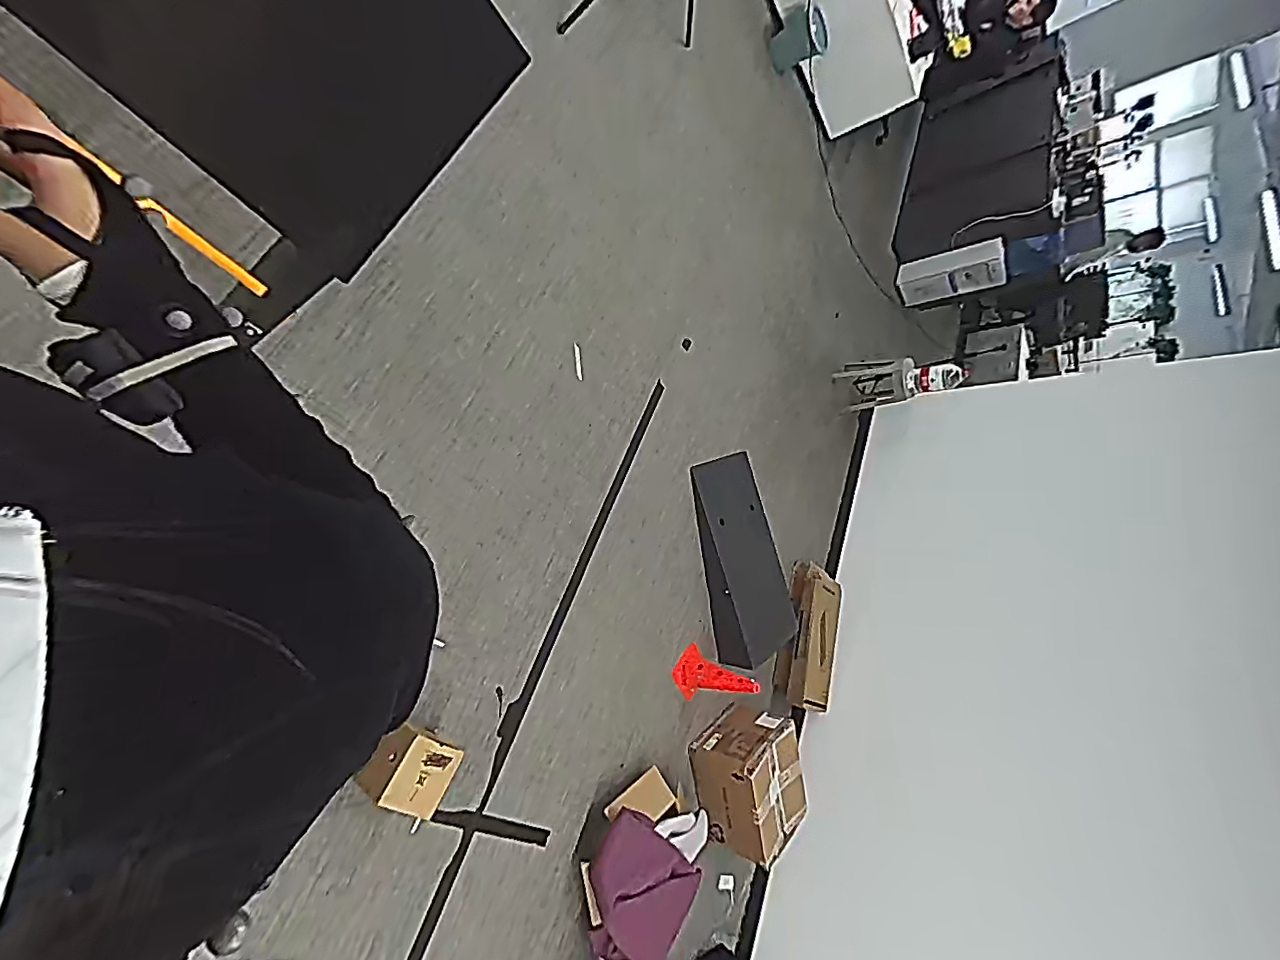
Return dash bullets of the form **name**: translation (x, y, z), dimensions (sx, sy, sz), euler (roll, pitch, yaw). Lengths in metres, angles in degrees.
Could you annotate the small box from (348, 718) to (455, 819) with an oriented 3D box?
- **small box**: translation (-0.641, 0.765, 1.448), dimensions (0.168, 0.176, 0.179), euler (47, 57, -36)
